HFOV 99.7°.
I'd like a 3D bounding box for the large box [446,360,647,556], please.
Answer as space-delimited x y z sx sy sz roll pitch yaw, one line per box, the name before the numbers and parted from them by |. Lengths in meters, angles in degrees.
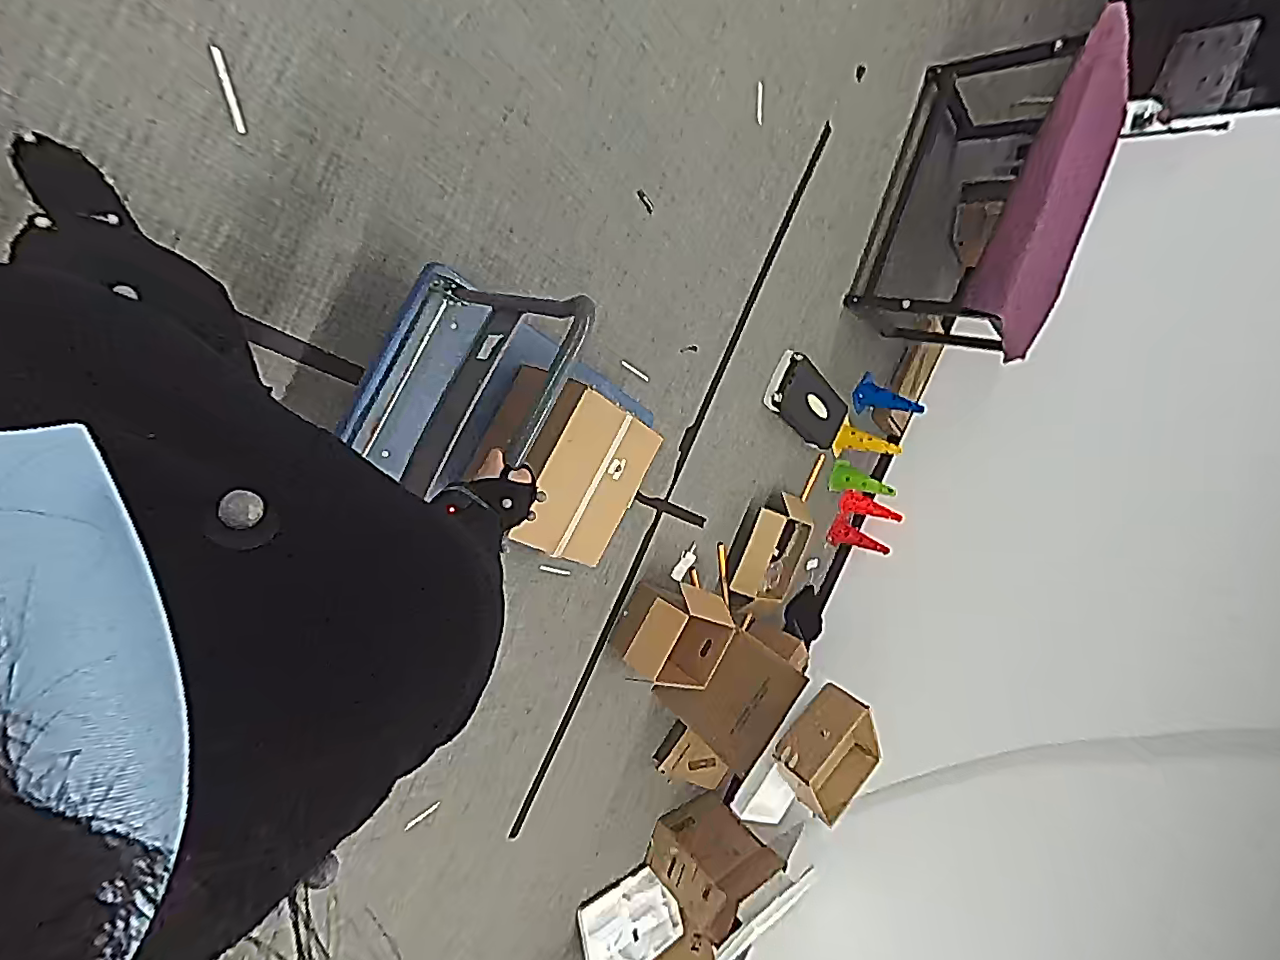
large box | -0.255 -0.060 1.467 0.320 0.320 0.408 31 85 -47
